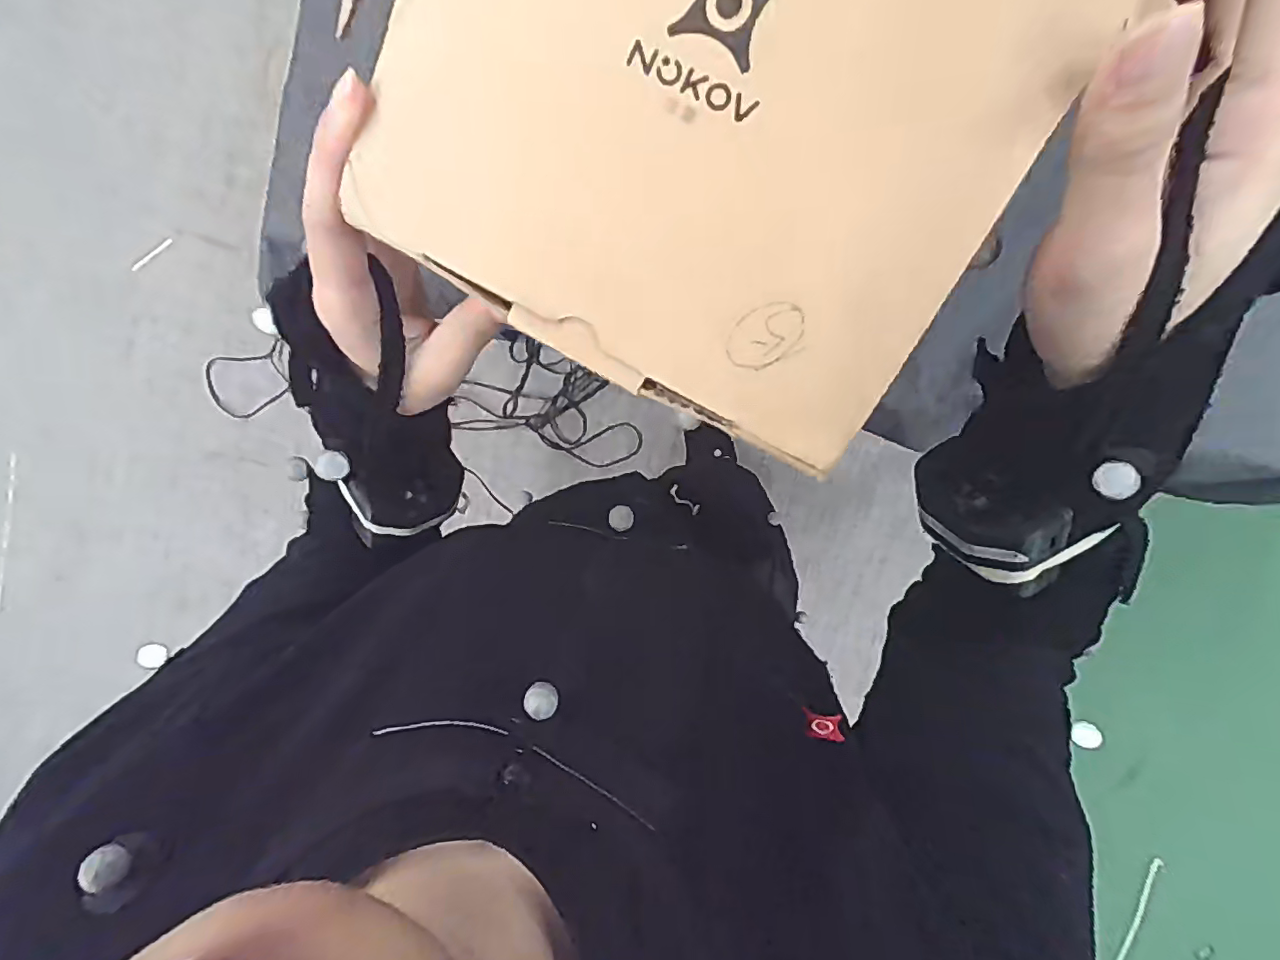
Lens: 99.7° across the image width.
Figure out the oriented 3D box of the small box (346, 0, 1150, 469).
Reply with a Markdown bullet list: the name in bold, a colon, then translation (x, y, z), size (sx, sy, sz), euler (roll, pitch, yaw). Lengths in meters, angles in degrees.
- **small box**: translation (0.036, -0.129, 0.208), size (0.168, 0.176, 0.179), euler (29, 104, 2)
